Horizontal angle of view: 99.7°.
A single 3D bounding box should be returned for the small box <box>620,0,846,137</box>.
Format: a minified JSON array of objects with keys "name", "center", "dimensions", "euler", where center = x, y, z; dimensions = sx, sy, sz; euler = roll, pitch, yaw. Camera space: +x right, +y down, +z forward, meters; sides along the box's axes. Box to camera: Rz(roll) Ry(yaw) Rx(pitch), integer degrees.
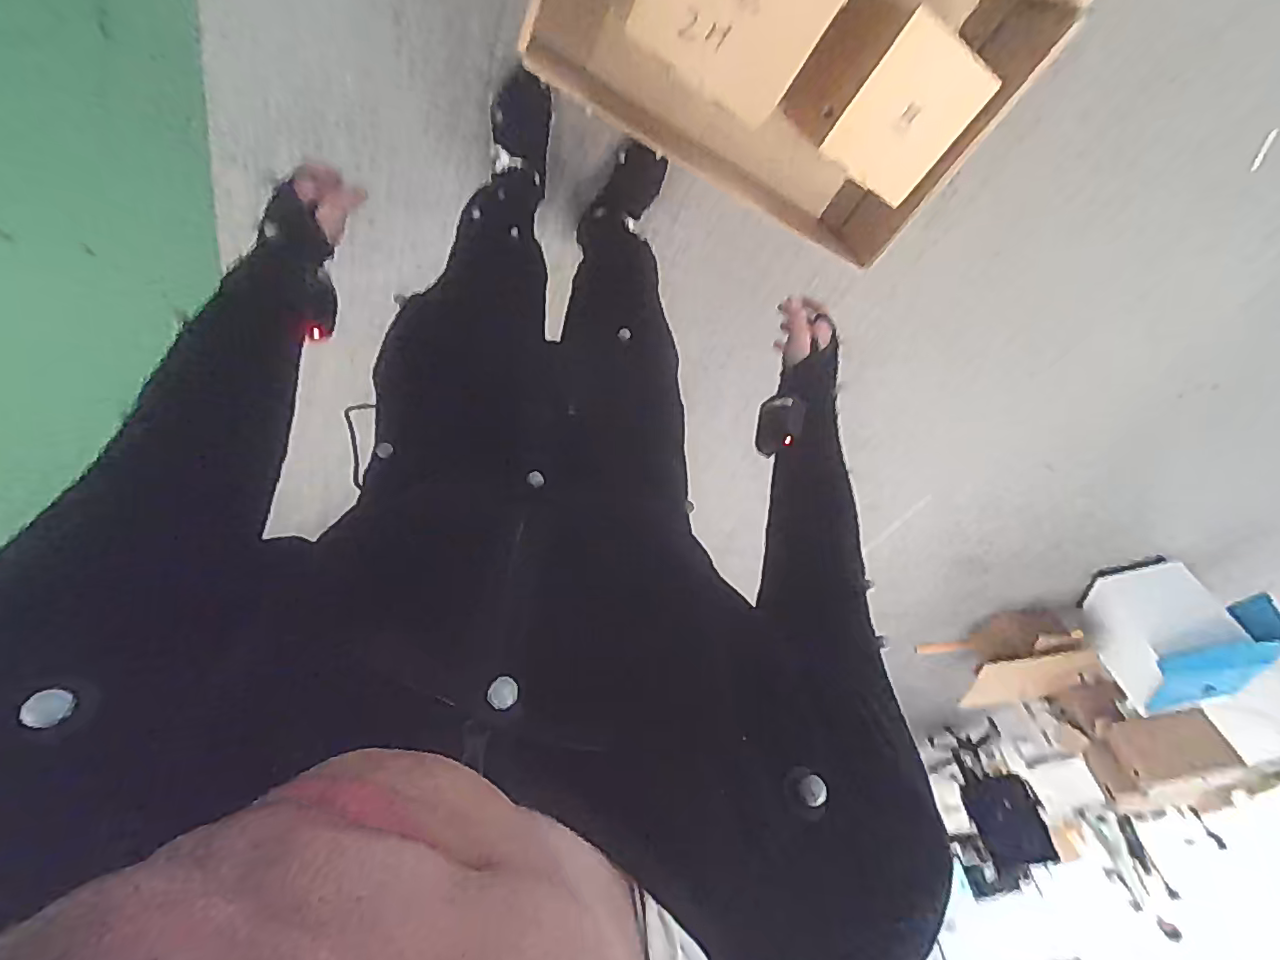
[{"name":"small box","center":[0.089,-0.493,0.533],"dimensions":[0.168,0.176,0.179],"euler":[20,131,-25]}]
